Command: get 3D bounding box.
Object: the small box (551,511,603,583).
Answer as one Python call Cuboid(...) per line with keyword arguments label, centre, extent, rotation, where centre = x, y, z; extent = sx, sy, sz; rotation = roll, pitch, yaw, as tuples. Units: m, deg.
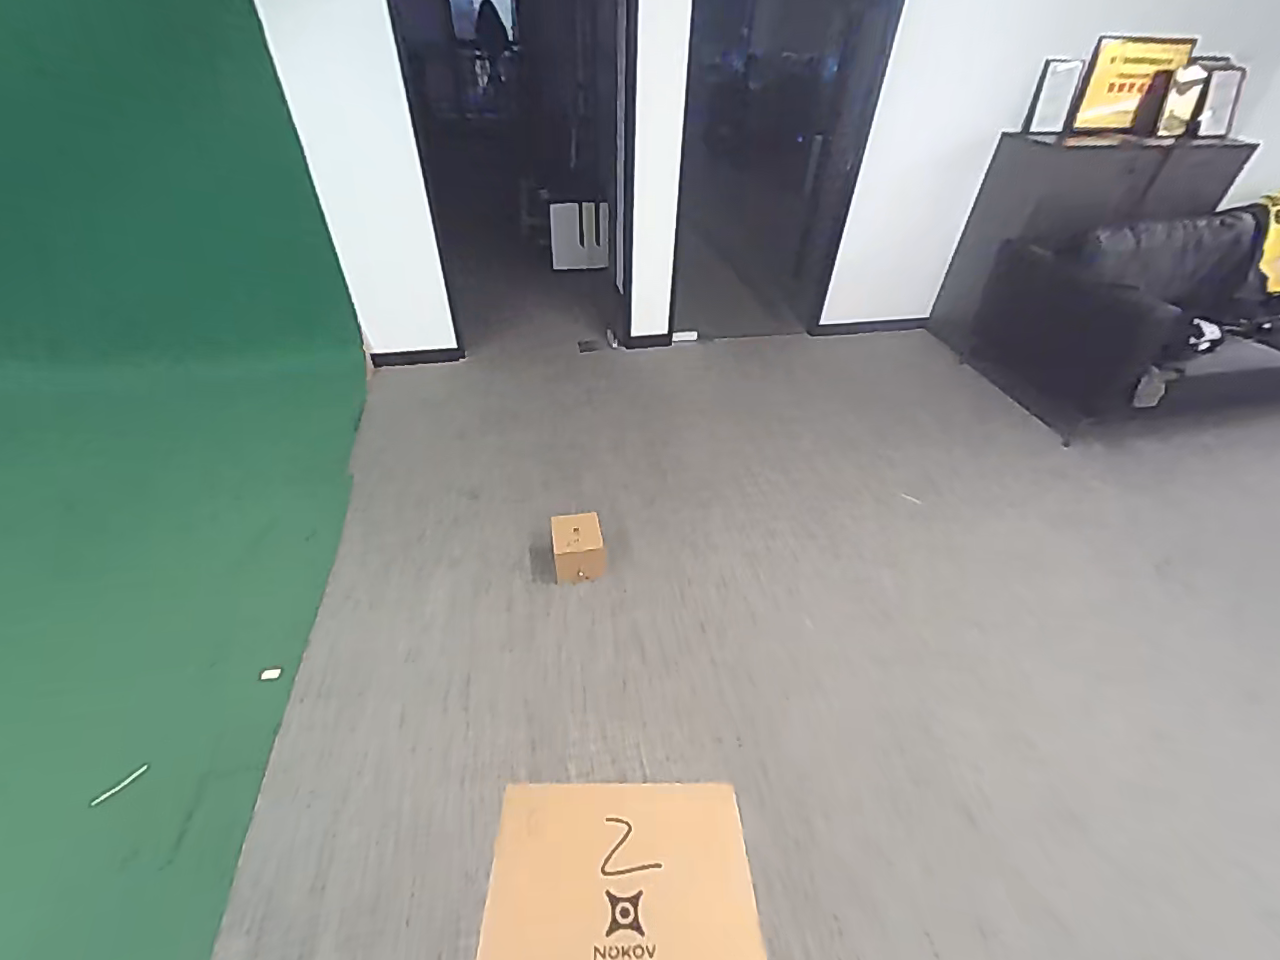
Cuboid(label="small box", centre=(-0.222, 0.235, 1.896), extent=(0.168, 0.176, 0.179), rotation=(-6, 43, -9))
